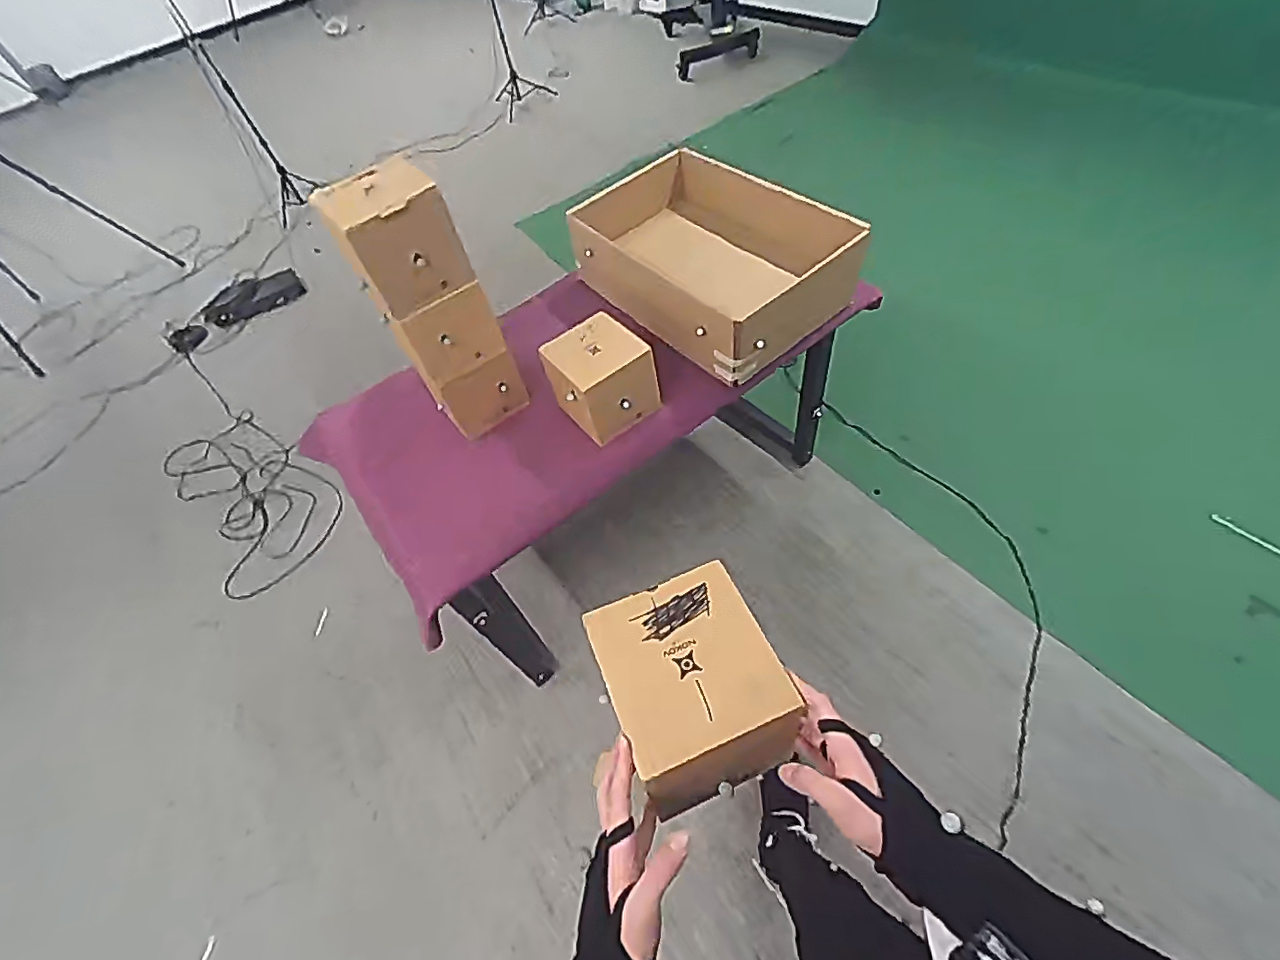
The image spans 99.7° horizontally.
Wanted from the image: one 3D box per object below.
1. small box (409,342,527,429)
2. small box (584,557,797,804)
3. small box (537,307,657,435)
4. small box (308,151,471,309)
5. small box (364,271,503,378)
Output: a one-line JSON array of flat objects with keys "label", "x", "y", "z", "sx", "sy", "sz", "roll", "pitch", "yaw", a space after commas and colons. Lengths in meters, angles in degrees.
[{"label": "small box", "x": -0.376, "y": -0.237, "z": 1.194, "sx": 0.168, "sy": 0.176, "sz": 0.179, "roll": -36, "pitch": 57, "yaw": -16}, {"label": "small box", "x": 0.051, "y": 0.223, "z": 0.602, "sx": 0.168, "sy": 0.176, "sz": 0.179, "roll": -21, "pitch": 49, "yaw": -9}, {"label": "small box", "x": -0.082, "y": -0.219, "z": 1.127, "sx": 0.168, "sy": 0.176, "sz": 0.179, "roll": -35, "pitch": 56, "yaw": -15}, {"label": "small box", "x": -0.420, "y": -0.422, "z": 0.929, "sx": 0.168, "sy": 0.176, "sz": 0.179, "roll": -36, "pitch": 58, "yaw": -17}, {"label": "small box", "x": -0.396, "y": -0.325, "z": 1.060, "sx": 0.168, "sy": 0.176, "sz": 0.179, "roll": -36, "pitch": 57, "yaw": -16}]
